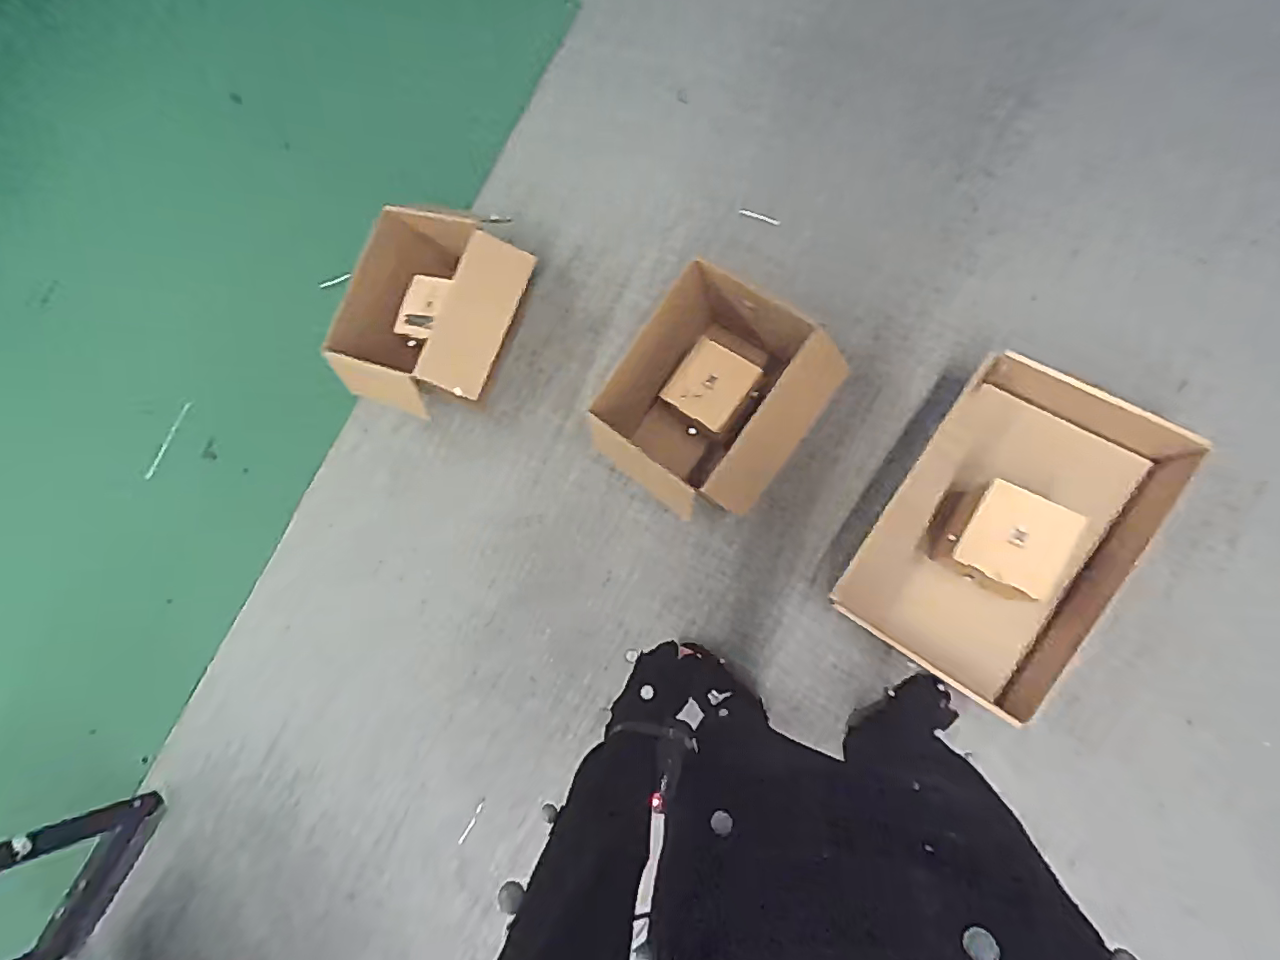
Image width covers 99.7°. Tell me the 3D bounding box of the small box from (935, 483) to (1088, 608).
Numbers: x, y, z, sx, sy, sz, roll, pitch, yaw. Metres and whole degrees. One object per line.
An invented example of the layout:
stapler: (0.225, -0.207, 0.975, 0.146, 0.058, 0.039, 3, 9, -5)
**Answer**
small box: (0.713, 0.130, 1.063, 0.168, 0.176, 0.179, 29, 89, 18)
